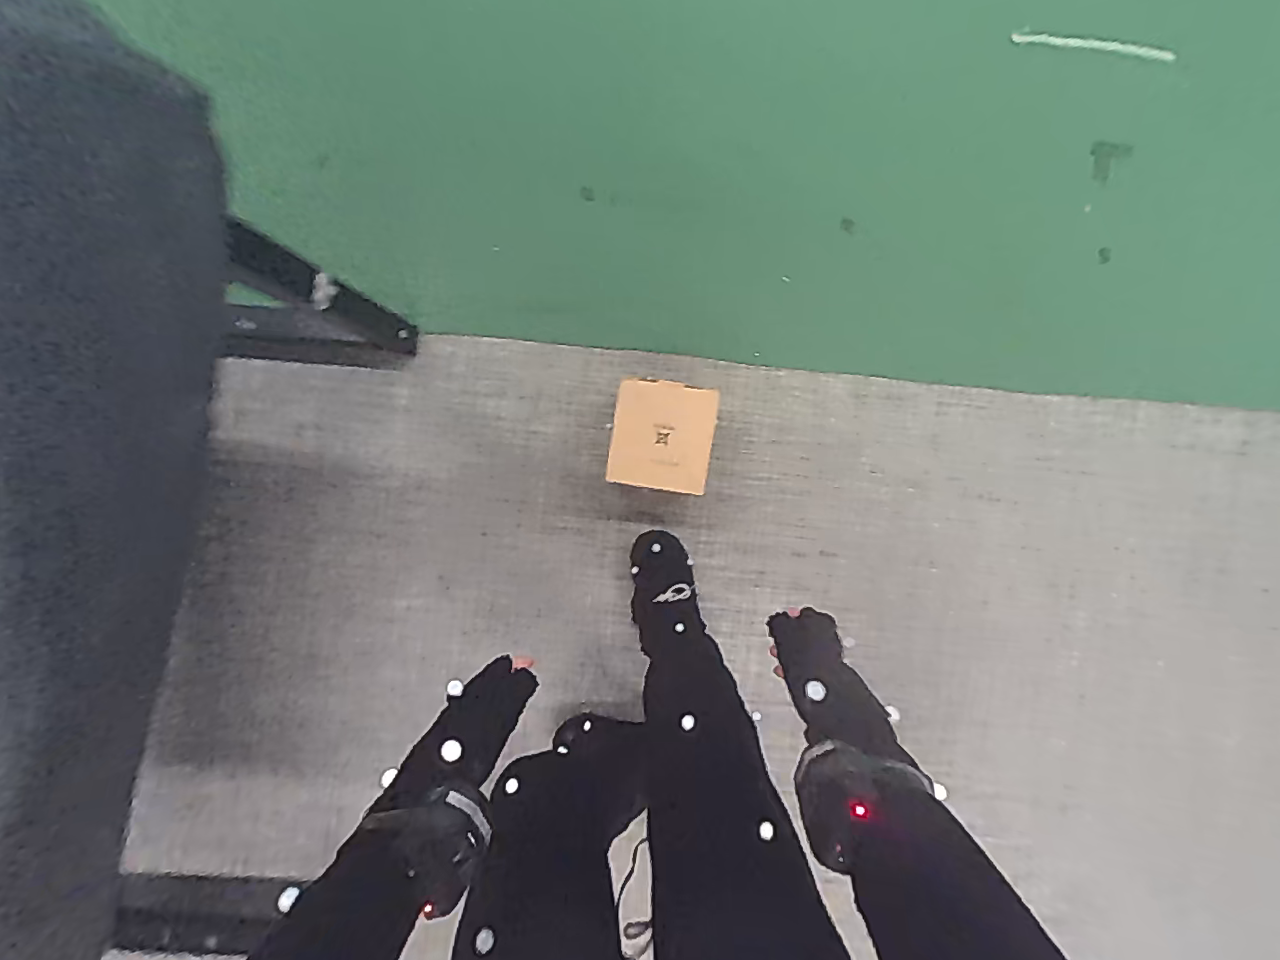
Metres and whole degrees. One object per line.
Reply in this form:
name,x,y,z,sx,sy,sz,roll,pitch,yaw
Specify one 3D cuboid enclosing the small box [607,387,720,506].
small box,0.038,-0.057,0.962,0.168,0.176,0.179,9,92,0
